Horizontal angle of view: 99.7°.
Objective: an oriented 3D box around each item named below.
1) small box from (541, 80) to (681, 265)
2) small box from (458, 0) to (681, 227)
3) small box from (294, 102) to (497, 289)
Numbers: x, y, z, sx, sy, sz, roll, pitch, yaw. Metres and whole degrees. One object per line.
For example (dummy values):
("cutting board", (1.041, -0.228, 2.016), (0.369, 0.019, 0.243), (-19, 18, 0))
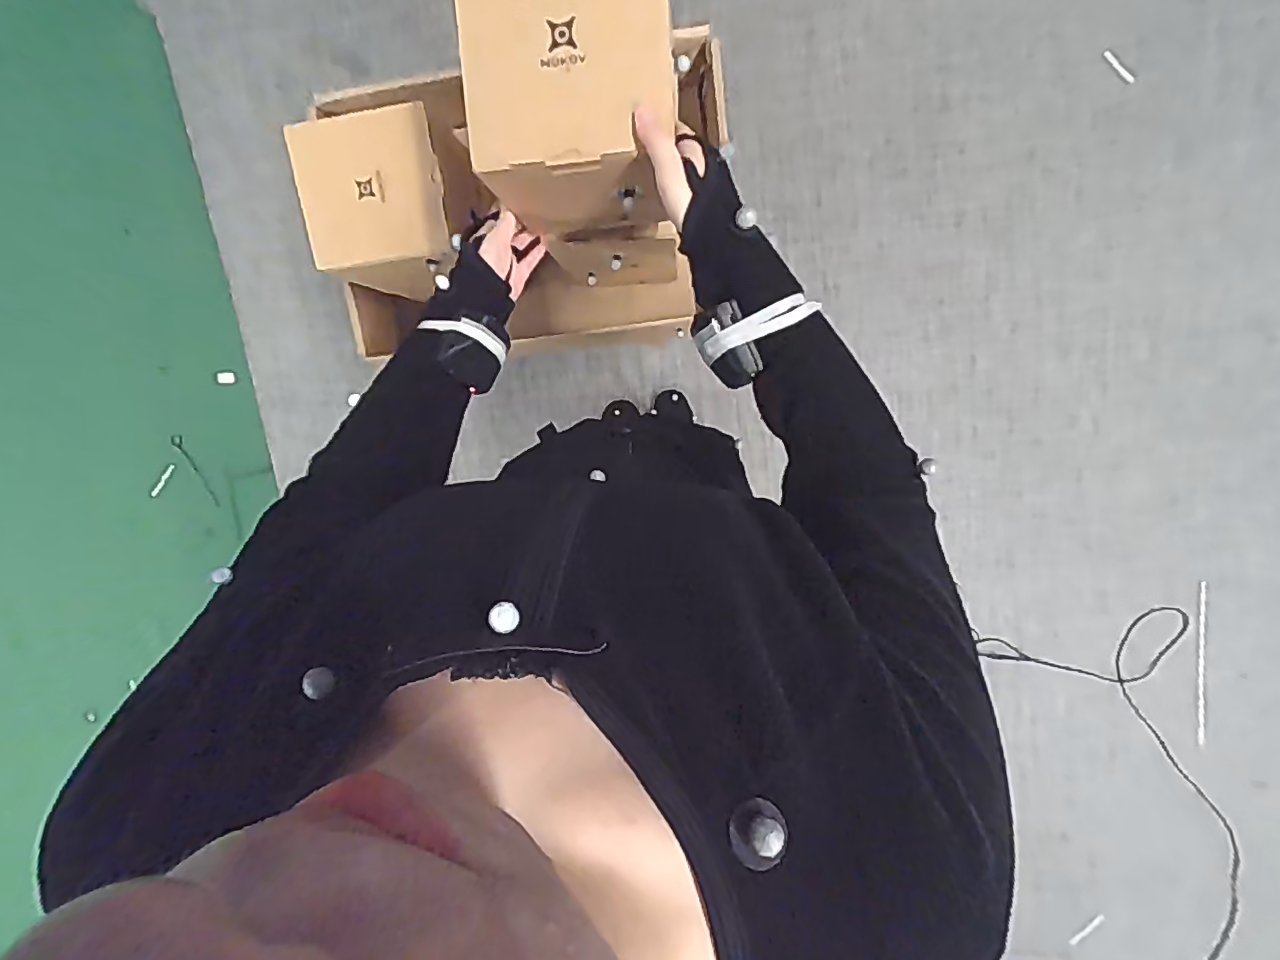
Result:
("small box", (-0.031, -0.382, 0.701), (0.168, 0.176, 0.179), (0, 101, 4))
("small box", (-0.050, -0.347, 0.497), (0.168, 0.176, 0.179), (-2, 97, 7))
("small box", (-0.313, -0.364, 0.726), (0.179, 0.176, 0.168), (-7, 100, 4))
